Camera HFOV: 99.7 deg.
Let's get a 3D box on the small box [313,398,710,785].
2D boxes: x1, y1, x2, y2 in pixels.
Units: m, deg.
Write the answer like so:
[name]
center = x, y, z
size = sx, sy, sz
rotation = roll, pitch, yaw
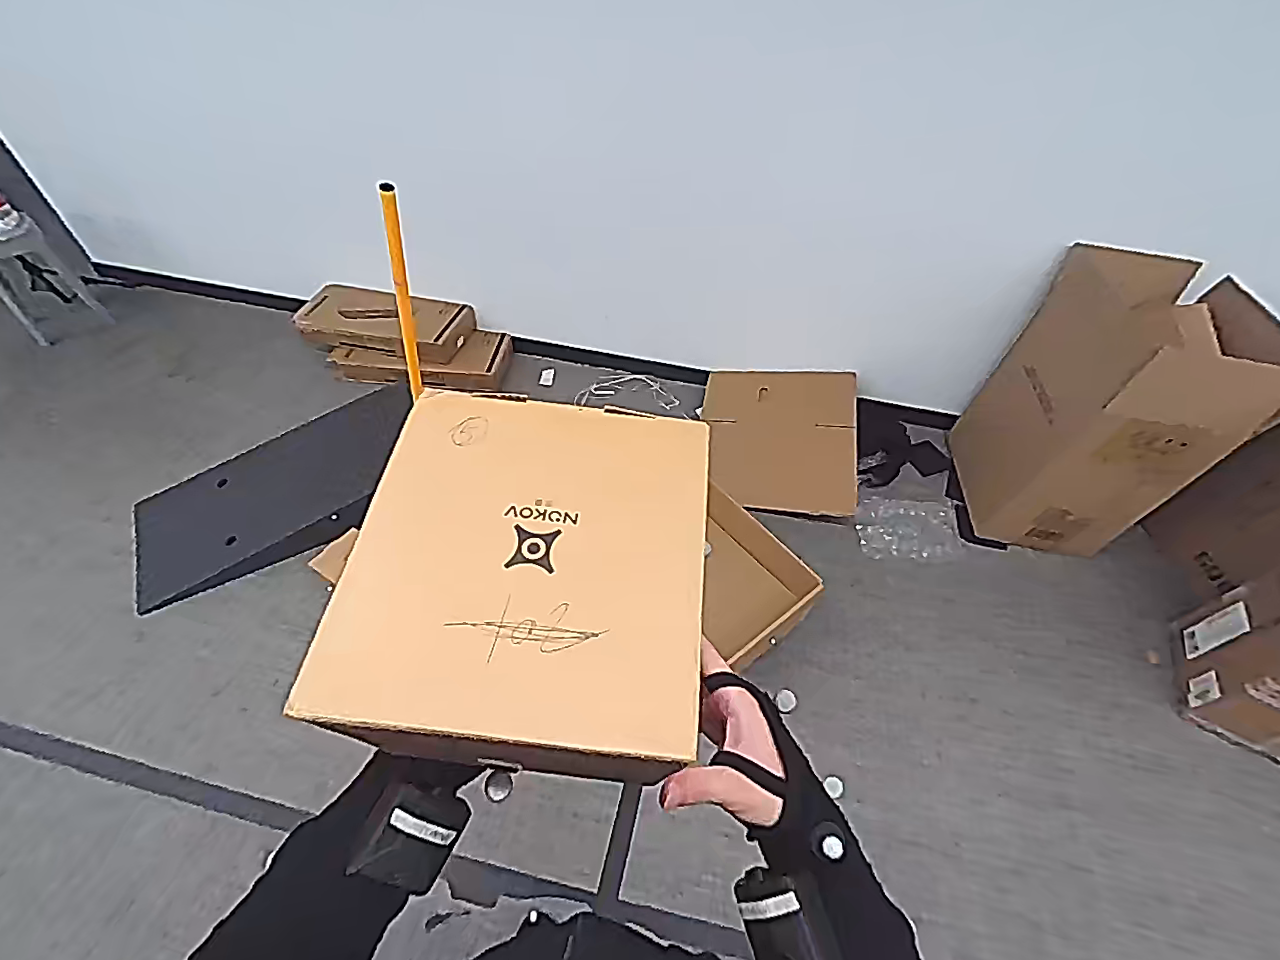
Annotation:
[small box]
center = -0.056, 0.077, 0.338
size = 0.168, 0.176, 0.179
rotation = 7, 57, -1
